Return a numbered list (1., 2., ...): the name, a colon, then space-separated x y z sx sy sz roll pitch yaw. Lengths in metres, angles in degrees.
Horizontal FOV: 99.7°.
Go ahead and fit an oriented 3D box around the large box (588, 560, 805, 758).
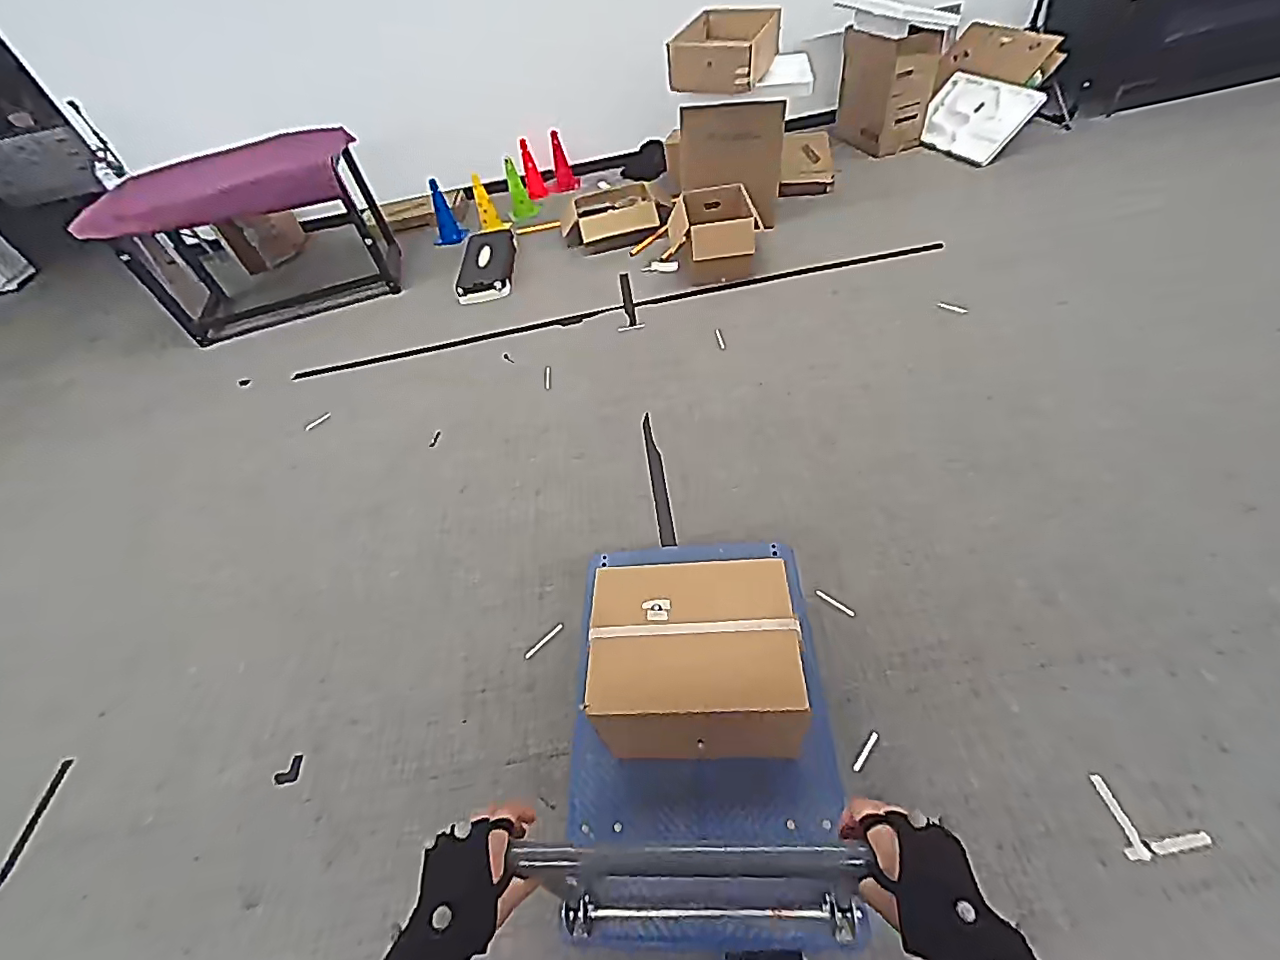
1. large box: 0.124 0.402 1.189 0.408 0.320 0.320 -6 47 8
